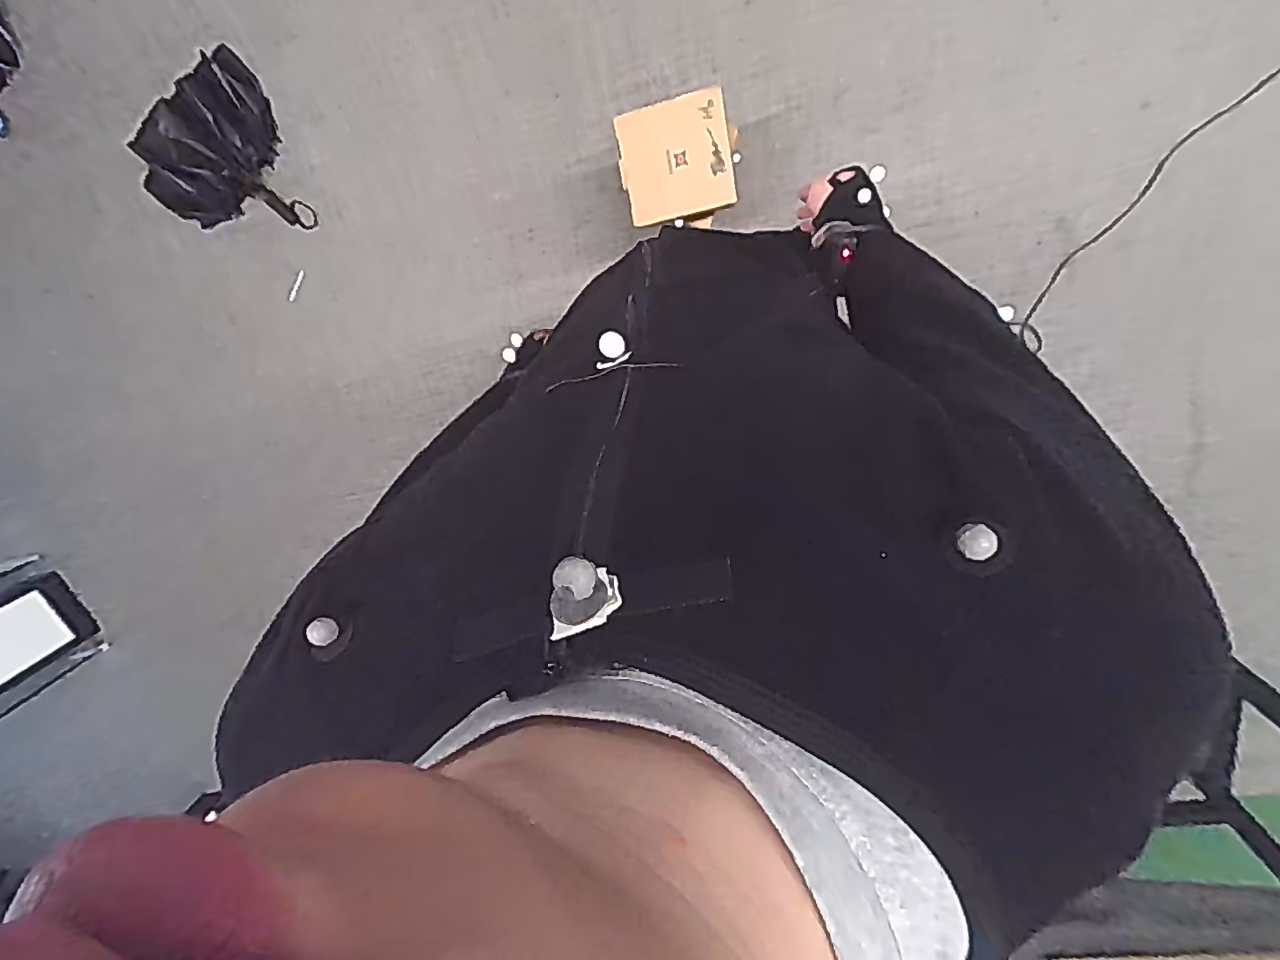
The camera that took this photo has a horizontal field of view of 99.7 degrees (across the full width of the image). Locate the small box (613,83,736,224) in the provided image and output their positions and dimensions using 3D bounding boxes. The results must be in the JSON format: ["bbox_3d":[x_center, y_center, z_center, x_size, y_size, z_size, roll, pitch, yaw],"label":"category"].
[{"bbox_3d":[0.069,-0.547,0.934,0.179,0.176,0.168,-8,113,13],"label":"small box"}]

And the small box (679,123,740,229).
[{"bbox_3d":[0.091,-0.617,1.080,0.168,0.176,0.179,17,117,1],"label":"small box"}]
